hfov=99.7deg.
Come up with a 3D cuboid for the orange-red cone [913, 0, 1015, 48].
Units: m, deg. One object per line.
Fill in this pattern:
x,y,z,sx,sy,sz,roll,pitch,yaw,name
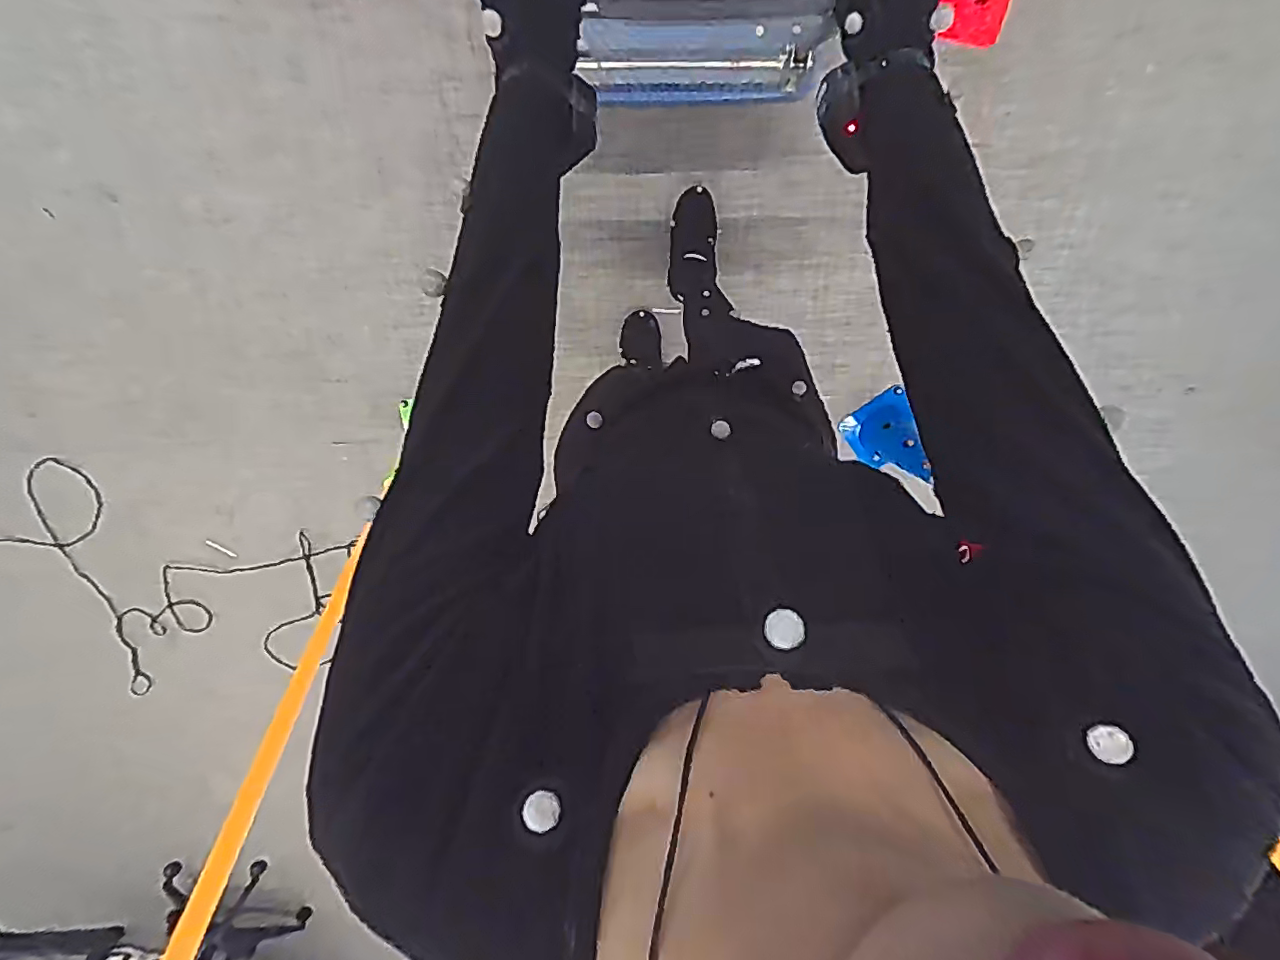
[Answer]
0.682,-0.948,0.954,0.198,0.360,0.199,9,115,-4,orange-red cone
